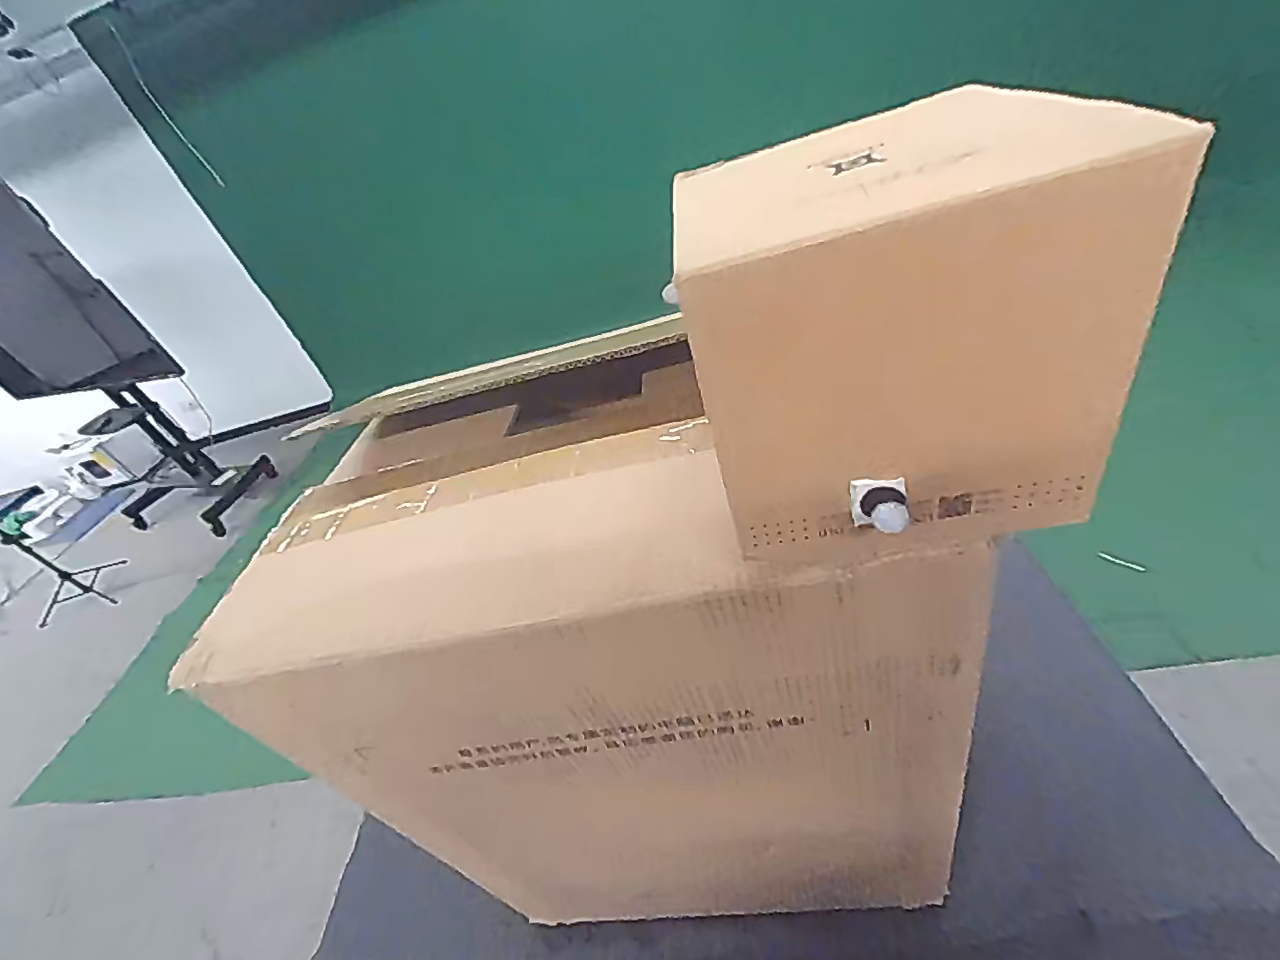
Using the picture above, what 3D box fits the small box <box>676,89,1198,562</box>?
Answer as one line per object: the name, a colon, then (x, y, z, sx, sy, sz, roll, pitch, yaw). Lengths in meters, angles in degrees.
small box: (0.119, -0.083, 0.295, 0.168, 0.176, 0.179, -12, 38, 11)
